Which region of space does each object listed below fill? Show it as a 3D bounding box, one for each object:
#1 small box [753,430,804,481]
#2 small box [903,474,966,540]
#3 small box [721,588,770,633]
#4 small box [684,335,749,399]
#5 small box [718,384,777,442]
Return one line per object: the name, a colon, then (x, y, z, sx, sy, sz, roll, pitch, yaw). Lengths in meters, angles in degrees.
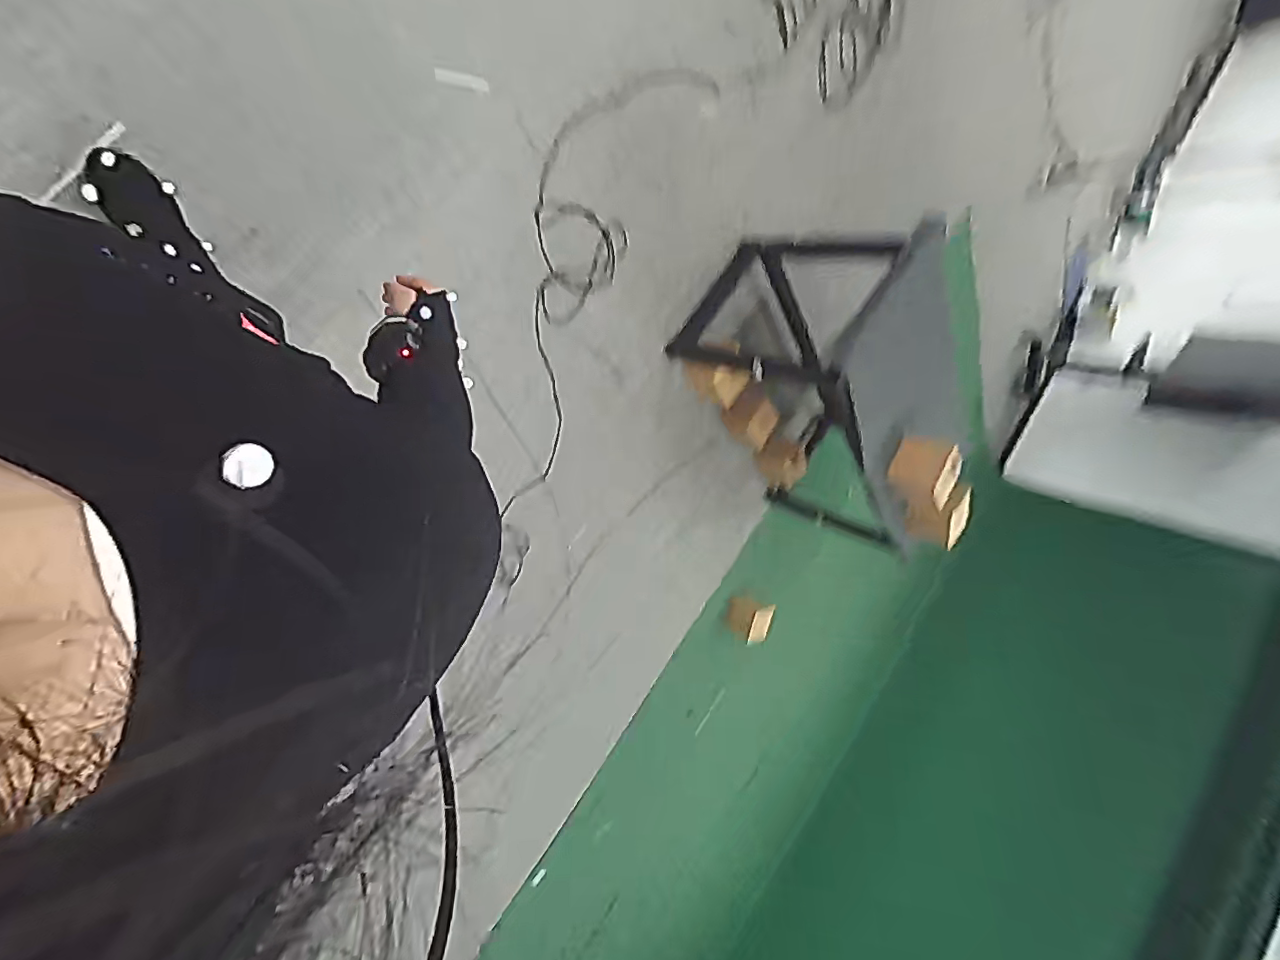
small box: (0.675, -0.128, 2.638, 0.168, 0.176, 0.179, -45, 134, -19)
small box: (1.164, 0.102, 2.146, 0.179, 0.176, 0.168, -41, 131, -27)
small box: (0.567, 0.699, 2.912, 0.179, 0.176, 0.168, 0, 108, -44)
small box: (0.295, -0.451, 2.137, 0.179, 0.176, 0.168, -52, 135, -14)
small box: (0.462, -0.298, 2.362, 0.179, 0.176, 0.168, -57, 136, -9)
